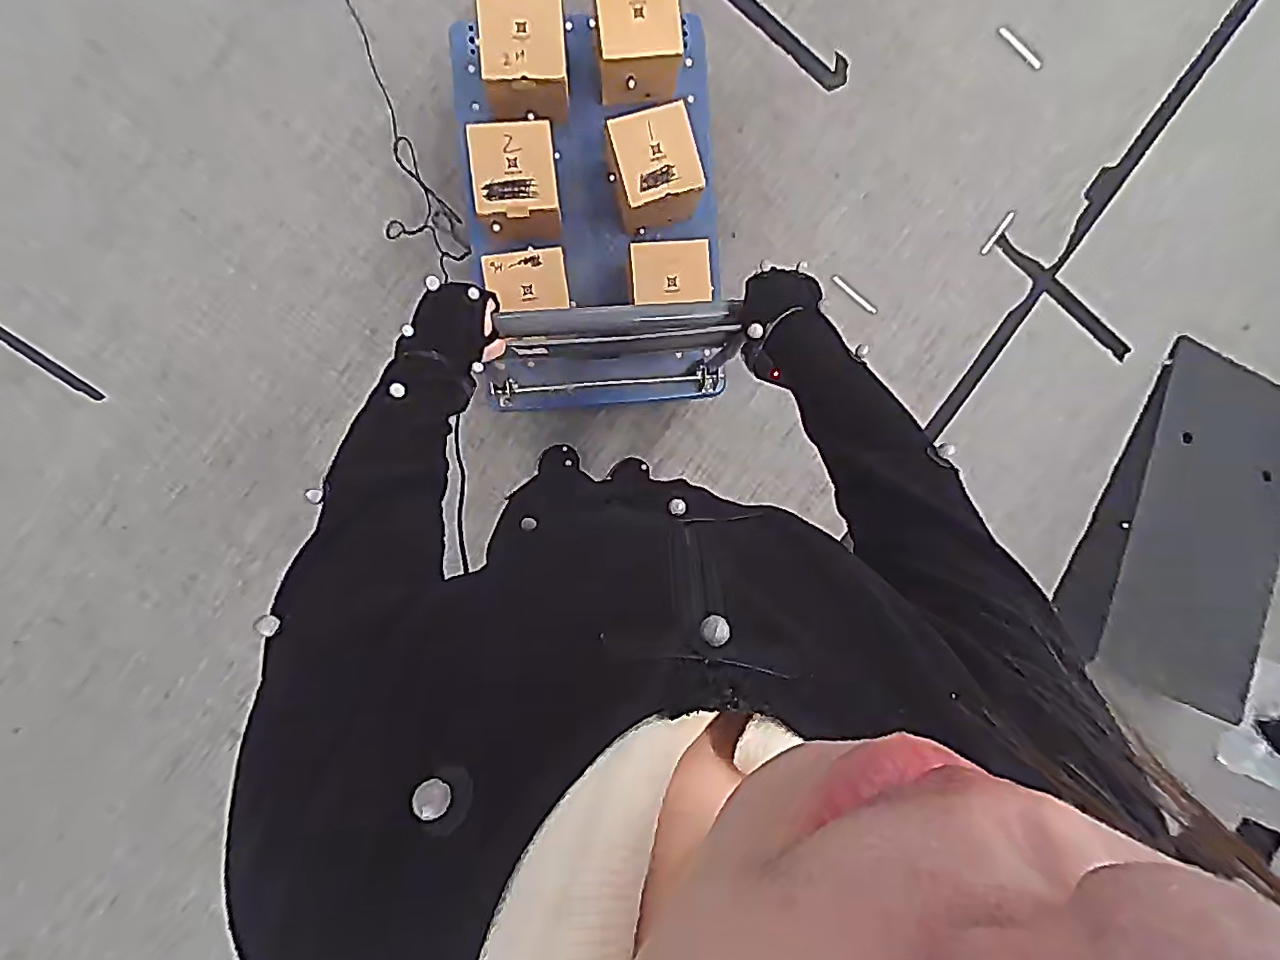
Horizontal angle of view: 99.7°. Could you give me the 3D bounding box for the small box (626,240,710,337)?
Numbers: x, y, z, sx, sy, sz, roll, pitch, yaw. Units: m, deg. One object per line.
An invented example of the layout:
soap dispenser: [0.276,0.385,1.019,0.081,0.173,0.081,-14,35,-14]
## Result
small box: [0.059,-0.417,1.205,0.168,0.176,0.179,-4,96,-5]

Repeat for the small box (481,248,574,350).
small box: [-0.238,-0.386,1.182,0.168,0.176,0.179,-9,96,-5]

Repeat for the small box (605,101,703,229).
small box: [0.025,-0.671,1.179,0.168,0.176,0.179,-17,96,-3]

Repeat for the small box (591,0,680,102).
small box: [-0.013,-0.939,1.152,0.168,0.176,0.179,-8,96,-4]

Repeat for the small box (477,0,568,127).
small box: [-0.241,-0.883,1.137,0.168,0.176,0.179,-3,96,-4]
